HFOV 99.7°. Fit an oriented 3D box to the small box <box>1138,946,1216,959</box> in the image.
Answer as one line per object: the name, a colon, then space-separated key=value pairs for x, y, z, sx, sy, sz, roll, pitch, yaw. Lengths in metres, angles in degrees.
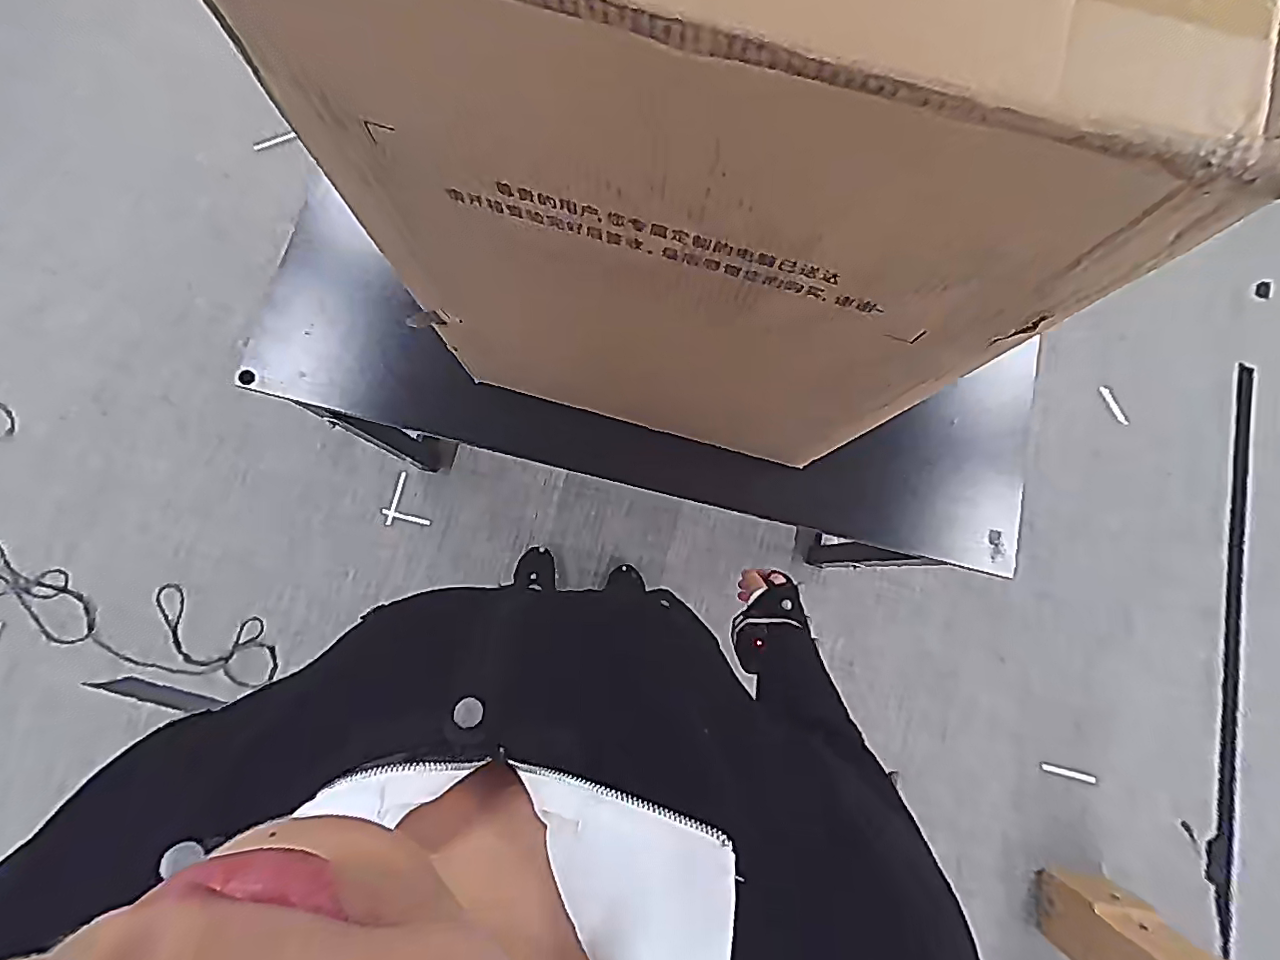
small box: x=1.174 y=1.107 z=1.111 sx=0.179 sy=0.176 sz=0.168 roll=7 pitch=80 yaw=-2

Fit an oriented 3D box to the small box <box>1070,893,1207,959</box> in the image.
small box: x=1.170 y=1.117 z=1.276 sx=0.179 sy=0.176 sz=0.168 roll=8 pitch=80 yaw=0
